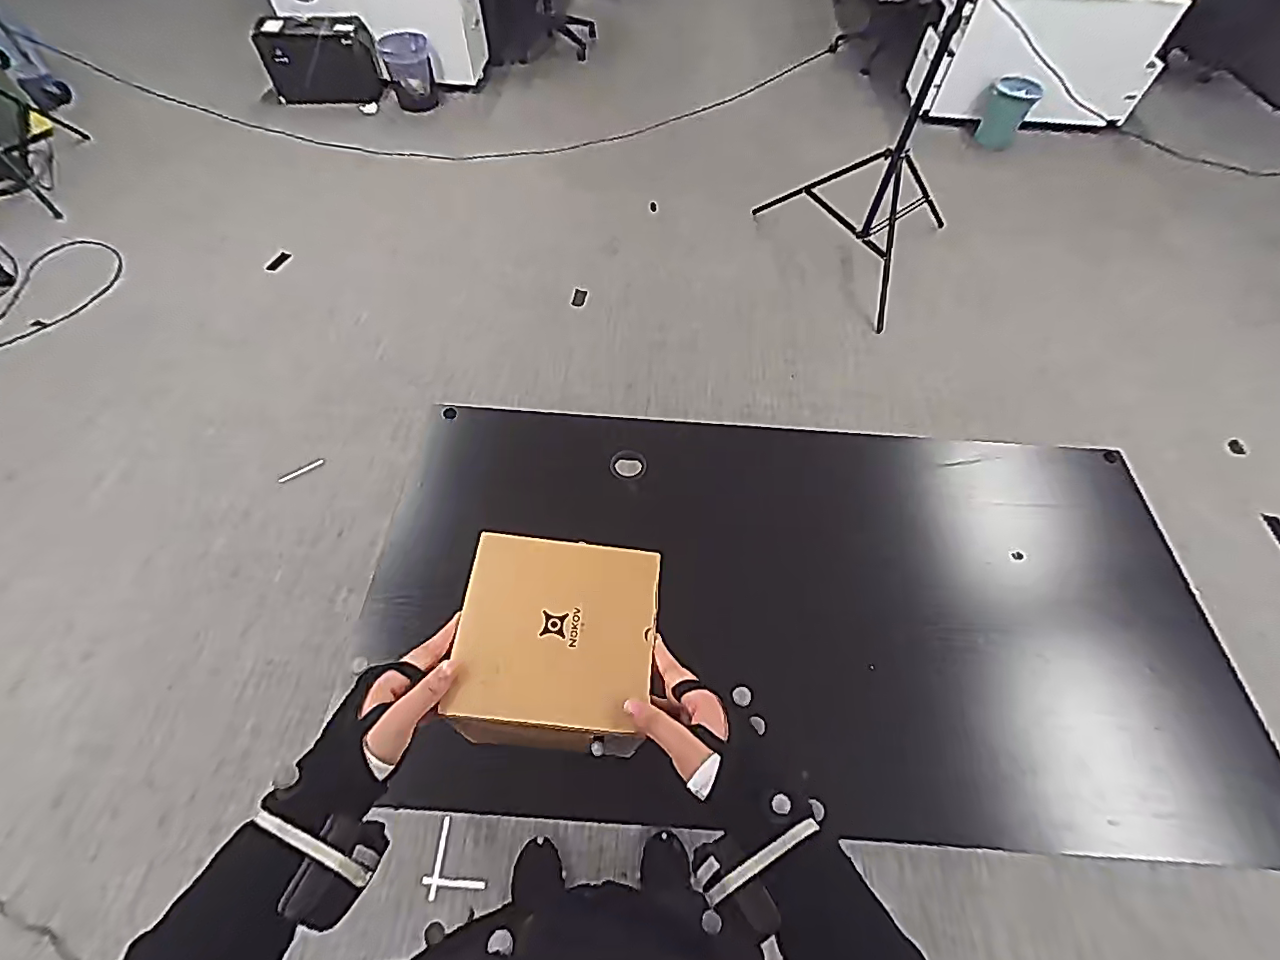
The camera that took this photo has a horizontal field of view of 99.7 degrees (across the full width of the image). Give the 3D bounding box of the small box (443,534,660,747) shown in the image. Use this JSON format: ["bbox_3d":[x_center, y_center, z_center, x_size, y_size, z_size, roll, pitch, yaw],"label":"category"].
[{"bbox_3d":[-0.080,0.173,0.557,0.179,0.176,0.168,7,58,-4],"label":"small box"}]
